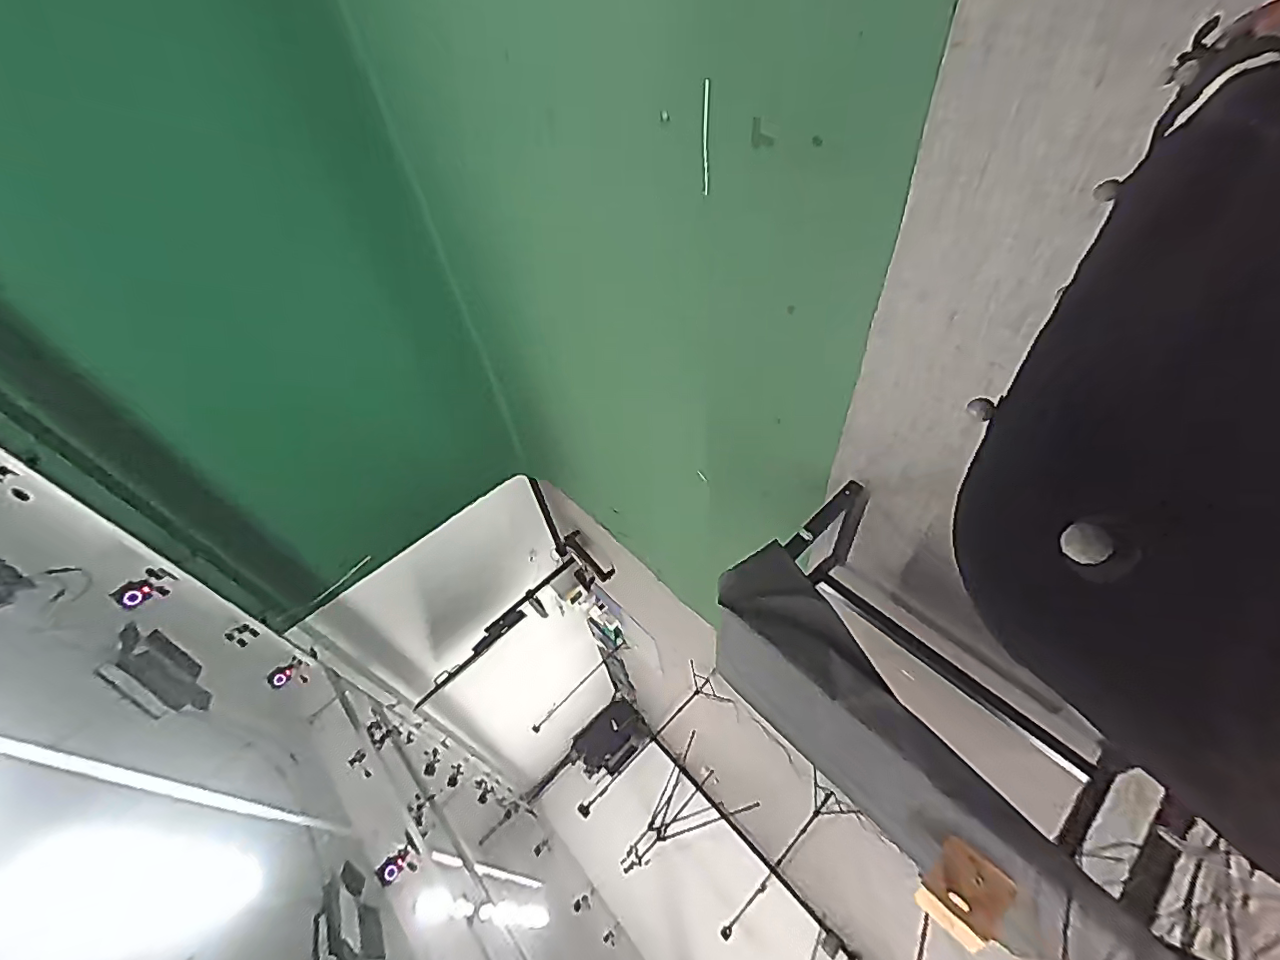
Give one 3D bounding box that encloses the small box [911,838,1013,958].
[{"bbox_3d":[0.843,1.093,1.419,0.168,0.176,0.179,32,149,42],"label":"small box"}]
